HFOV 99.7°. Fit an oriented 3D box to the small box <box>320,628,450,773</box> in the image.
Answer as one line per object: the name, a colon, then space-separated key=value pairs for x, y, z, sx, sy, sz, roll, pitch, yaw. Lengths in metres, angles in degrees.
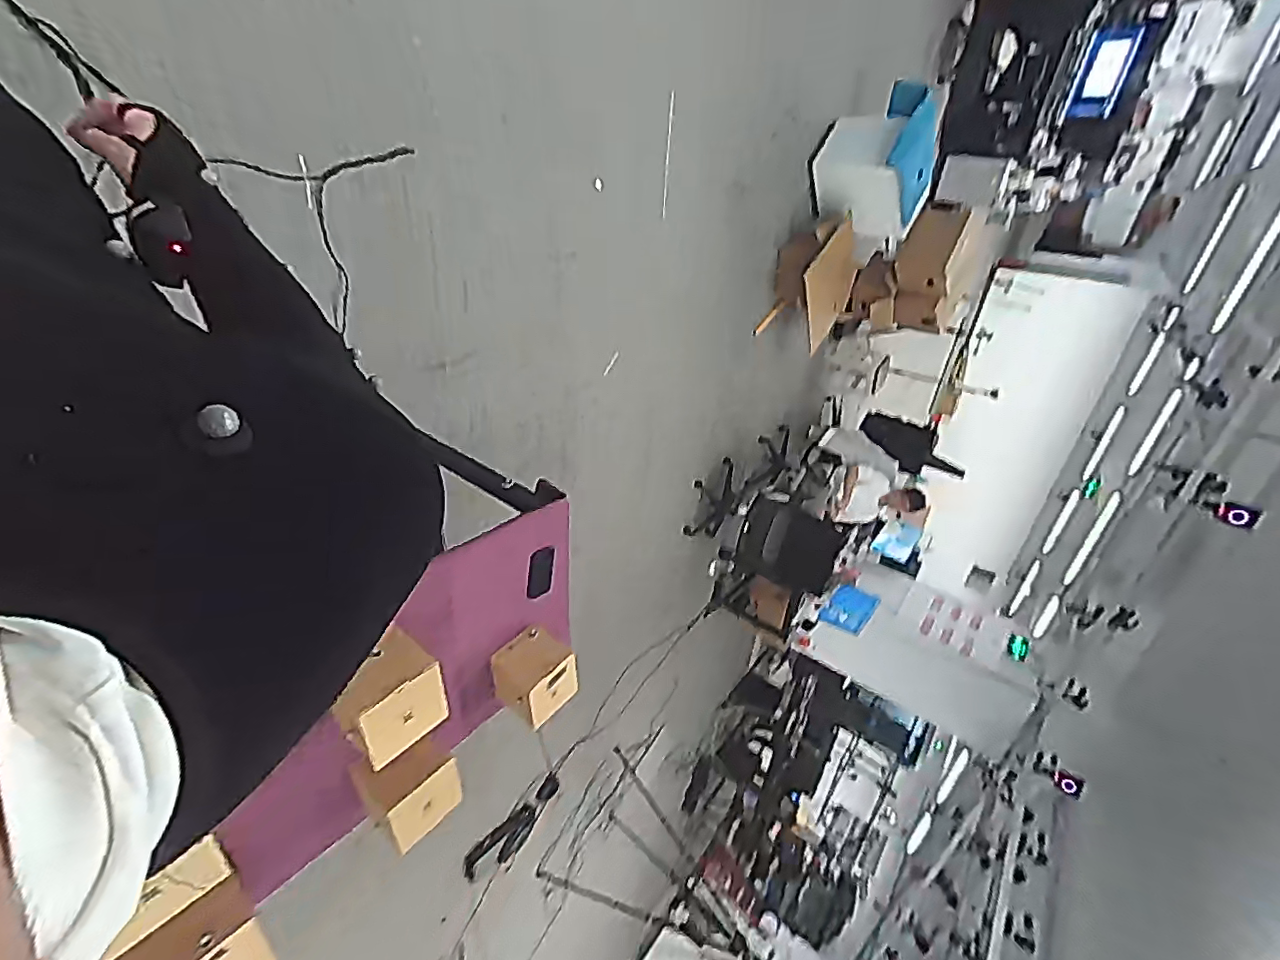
small box: x=-0.517 y=0.441 z=1.105 sx=0.168 sy=0.176 sz=0.179 roll=-32 pitch=135 yaw=-42

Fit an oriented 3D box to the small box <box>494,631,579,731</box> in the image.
small box: x=-0.290 y=0.551 z=1.516 sx=0.168 sy=0.176 sz=0.179 roll=-33 pitch=137 yaw=-41

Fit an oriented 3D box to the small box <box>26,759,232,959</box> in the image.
small box: x=-0.761 y=0.568 z=0.814 sx=0.168 sy=0.176 sz=0.179 roll=-29 pitch=133 yaw=-47

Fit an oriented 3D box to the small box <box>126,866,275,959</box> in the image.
small box: x=-0.789 y=0.846 z=0.967 sx=0.168 sy=0.176 sz=0.179 roll=-28 pitch=133 yaw=-46

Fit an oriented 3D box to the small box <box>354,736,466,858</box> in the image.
small box: x=-0.535 y=0.716 z=1.263 sx=0.168 sy=0.176 sz=0.179 roll=-31 pitch=134 yaw=-44
